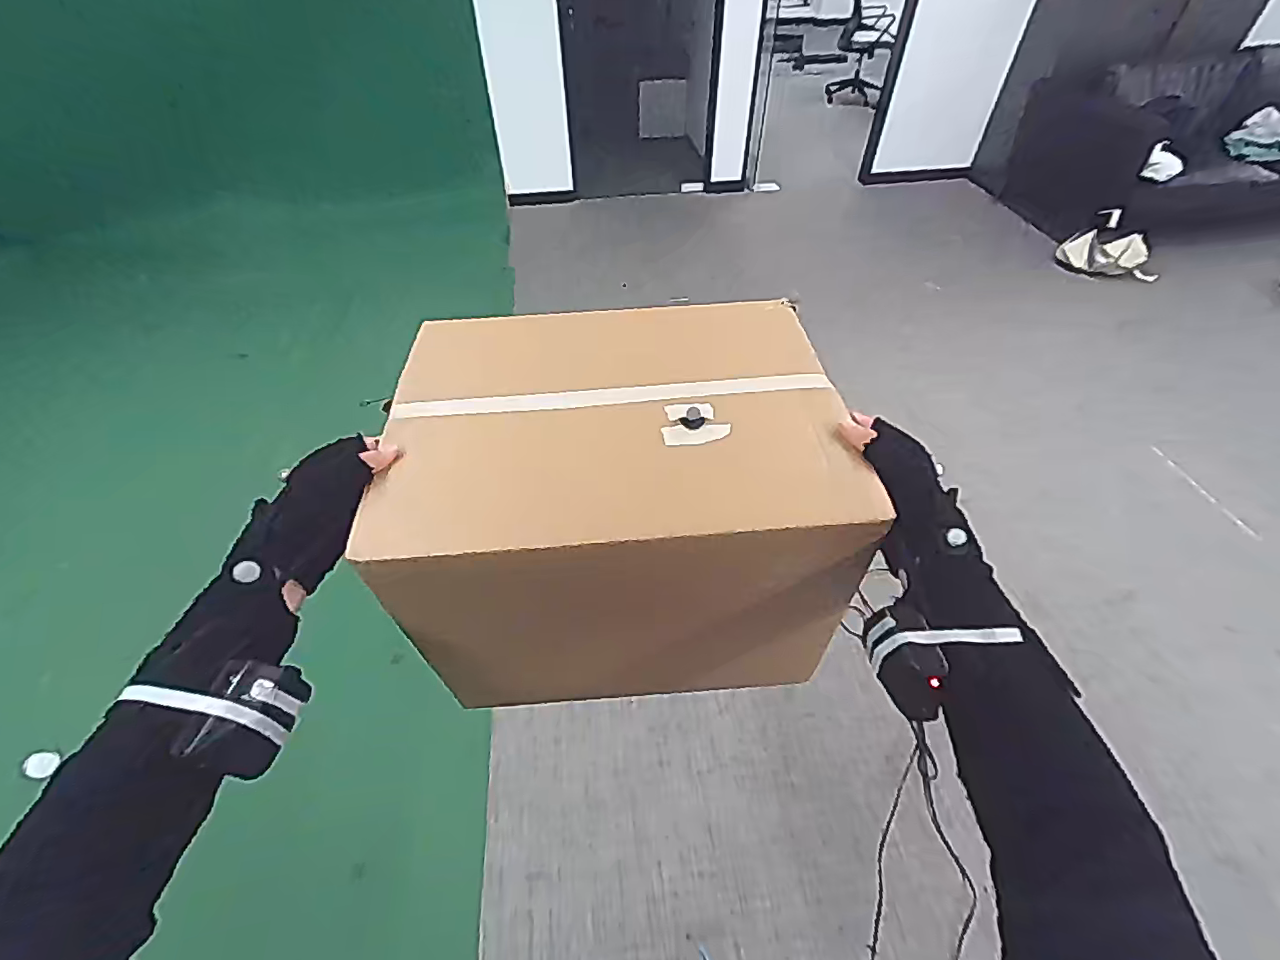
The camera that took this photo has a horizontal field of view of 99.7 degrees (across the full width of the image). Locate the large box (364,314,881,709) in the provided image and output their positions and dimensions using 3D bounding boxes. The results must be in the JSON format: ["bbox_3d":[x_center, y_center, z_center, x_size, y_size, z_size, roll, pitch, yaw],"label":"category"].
[{"bbox_3d":[-0.020,0.037,0.616,0.408,0.320,0.320,-4,48,-2],"label":"large box"}]
